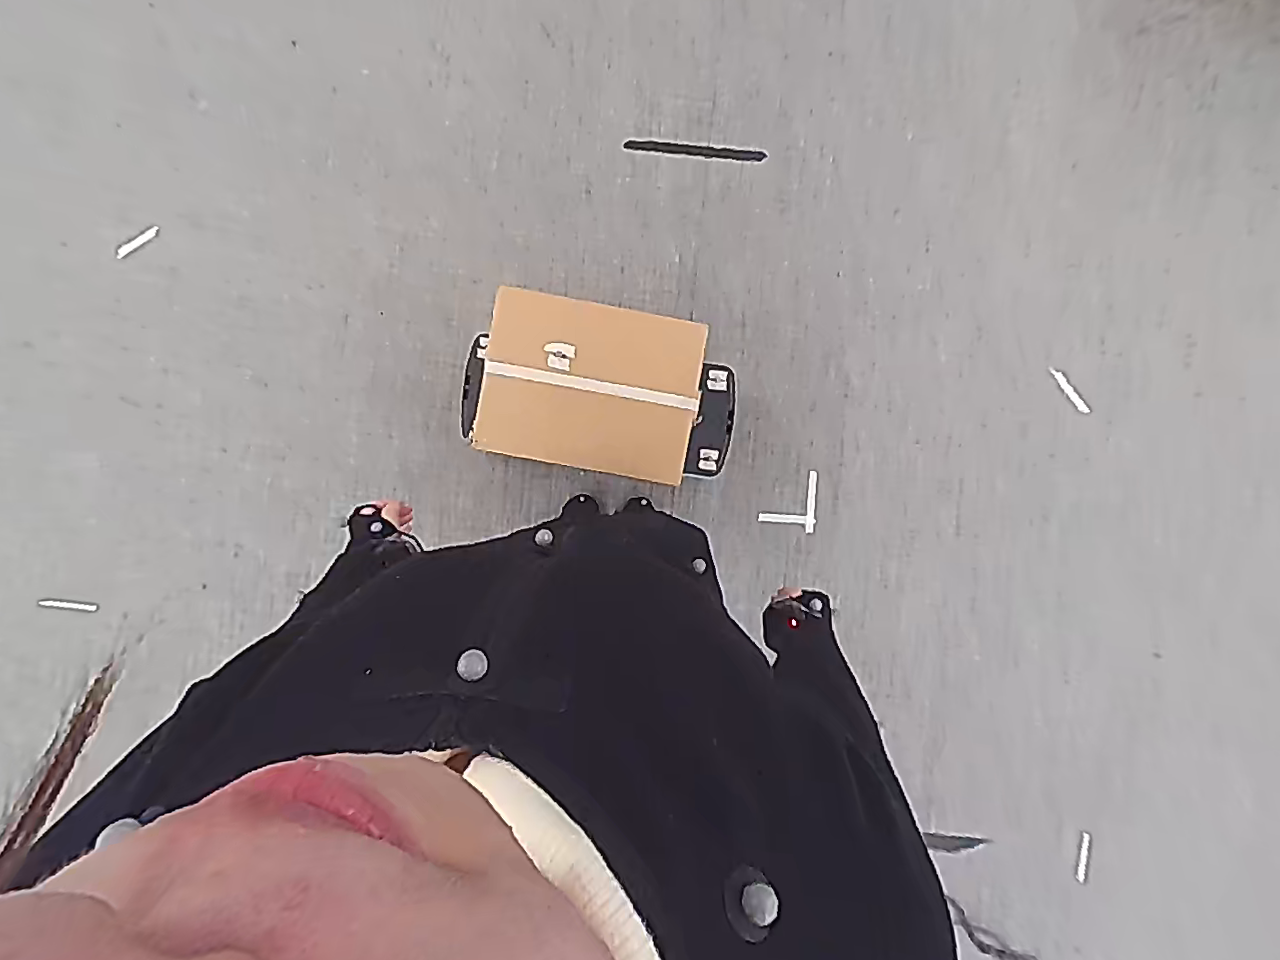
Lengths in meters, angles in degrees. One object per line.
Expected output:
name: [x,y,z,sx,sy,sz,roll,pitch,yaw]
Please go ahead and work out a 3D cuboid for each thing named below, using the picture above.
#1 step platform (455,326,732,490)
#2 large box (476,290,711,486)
step platform: [-0.112,-0.179,1.391,0.684,0.204,0.286,13,91,0]
large box: [-0.083,-0.174,1.153,0.408,0.320,0.320,11,91,0]
